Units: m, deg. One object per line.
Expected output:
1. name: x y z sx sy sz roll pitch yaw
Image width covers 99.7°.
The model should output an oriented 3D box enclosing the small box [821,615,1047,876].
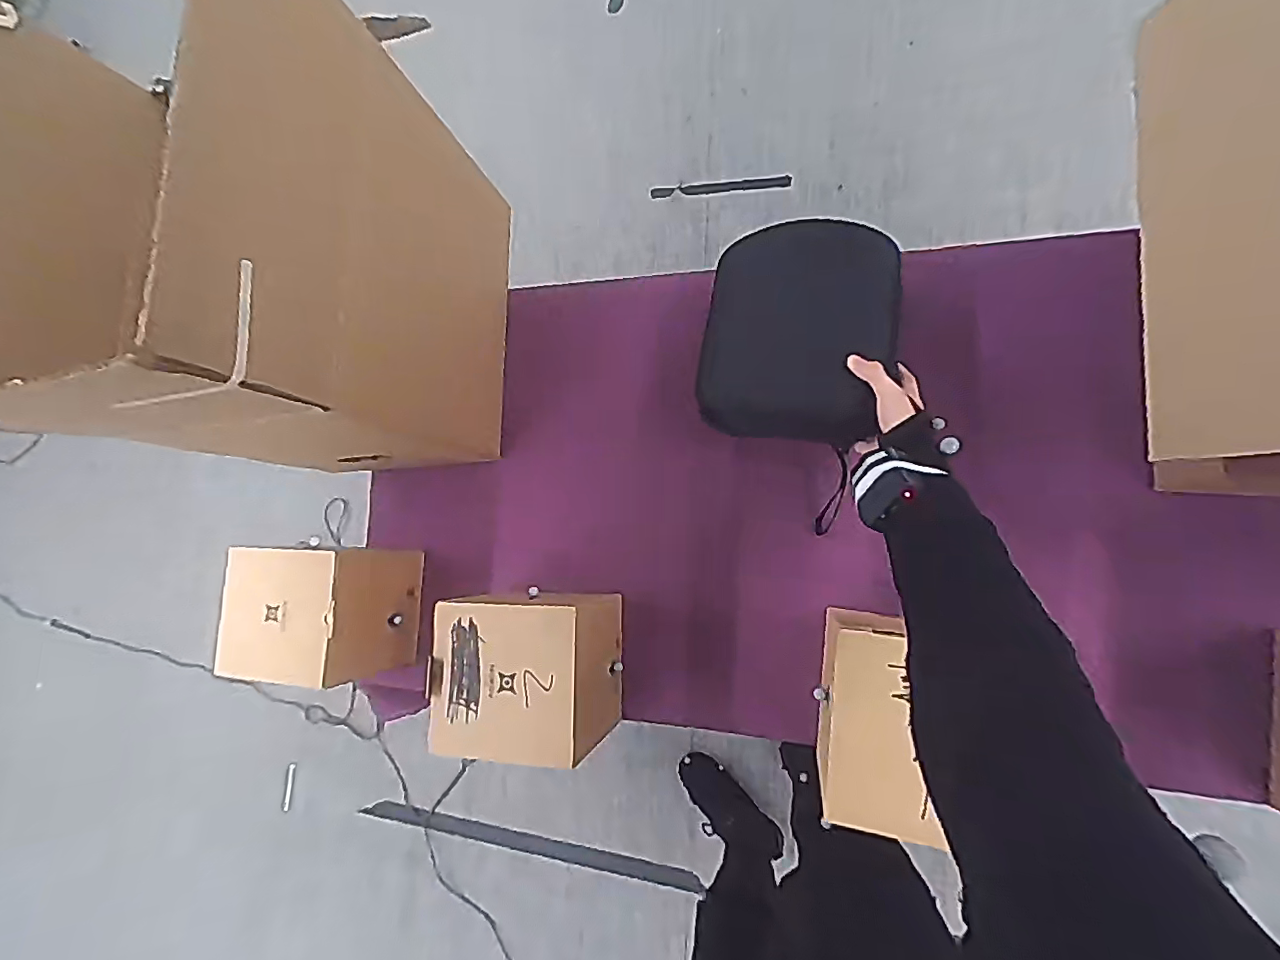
1. small box: 0.276 0.239 0.543 0.168 0.176 0.179 4 84 17

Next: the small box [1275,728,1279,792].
1. small box: 0.675 0.232 0.427 0.168 0.176 0.179 8 84 18

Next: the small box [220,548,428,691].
1. small box: -0.429 0.183 0.754 0.179 0.176 0.168 0 82 15
